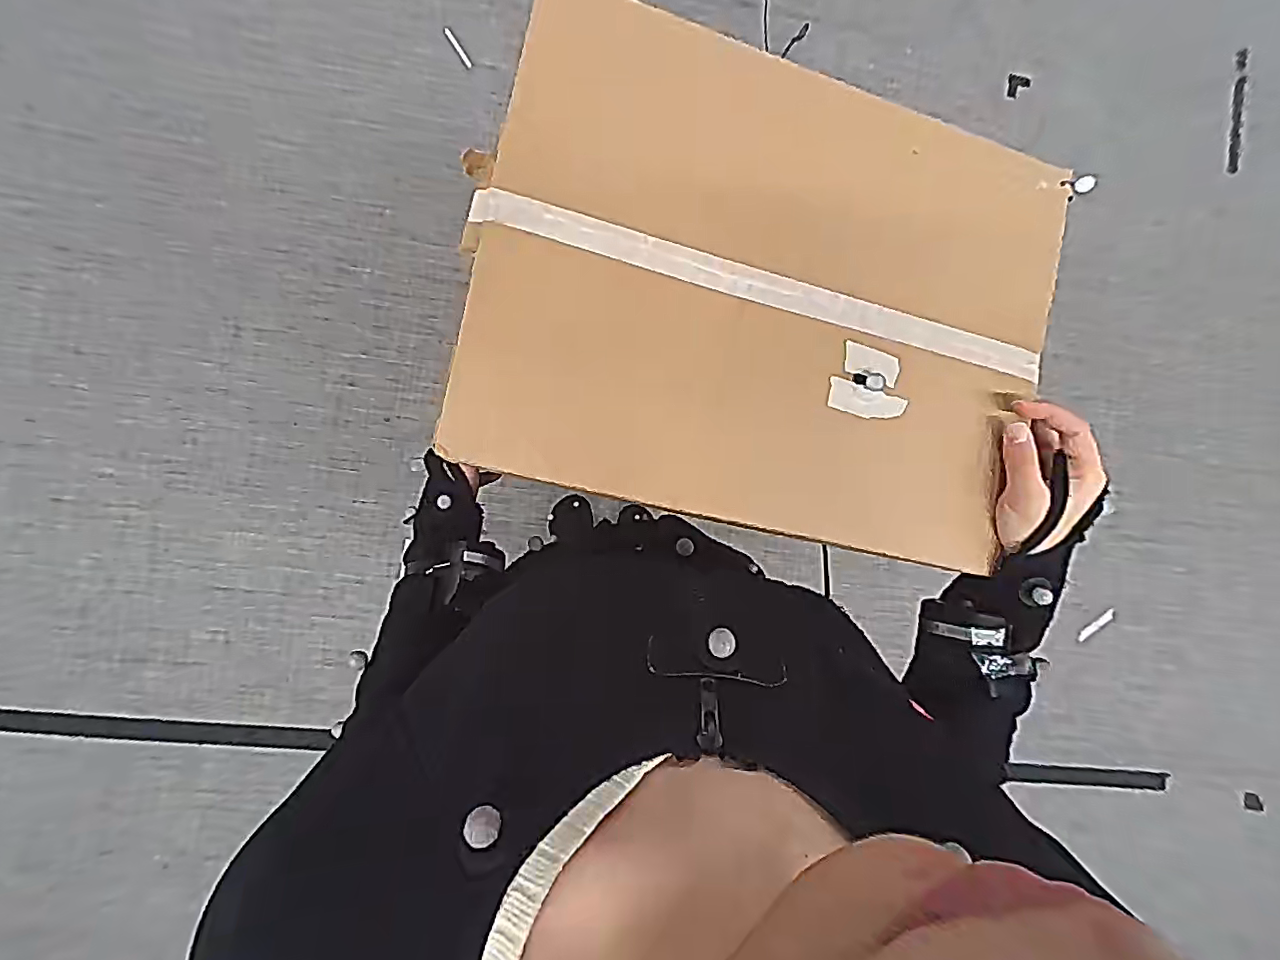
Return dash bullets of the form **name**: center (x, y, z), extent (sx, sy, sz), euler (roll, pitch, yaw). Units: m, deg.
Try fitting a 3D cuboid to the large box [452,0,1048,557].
- **large box**: center (0.069, -0.127, 0.520), extent (0.408, 0.320, 0.320), euler (13, 88, -12)
